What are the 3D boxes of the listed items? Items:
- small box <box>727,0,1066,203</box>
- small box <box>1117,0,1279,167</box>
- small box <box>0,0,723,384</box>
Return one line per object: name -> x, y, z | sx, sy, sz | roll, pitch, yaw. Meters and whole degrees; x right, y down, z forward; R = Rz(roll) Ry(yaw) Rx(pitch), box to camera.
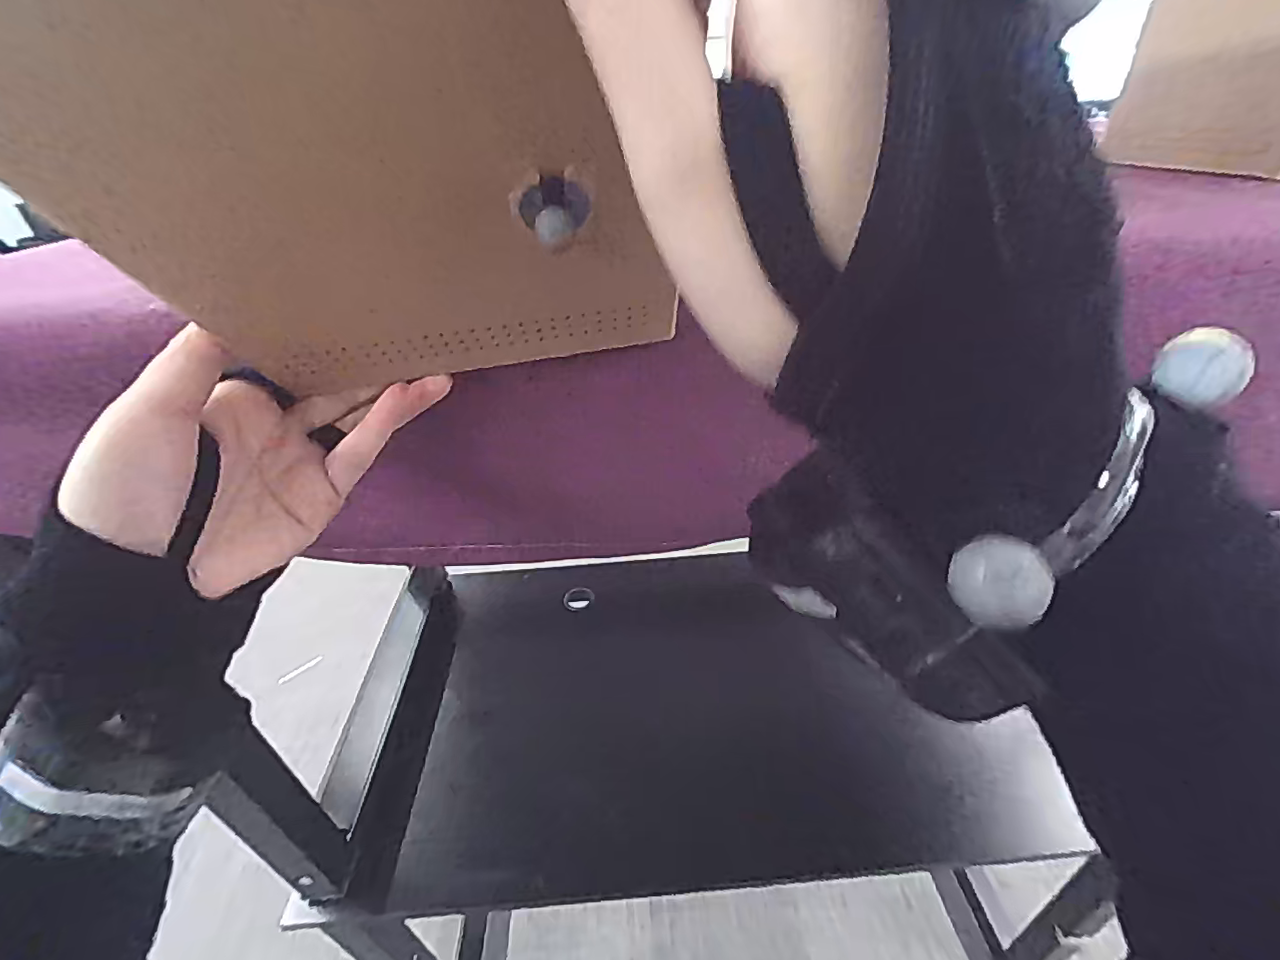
small box -> 0.163, -0.298, 0.381 | 0.168, 0.176, 0.179 | -7, 33, -5
small box -> 0.495, -0.318, 0.371 | 0.168, 0.176, 0.179 | -3, 34, 3
small box -> -0.081, -0.149, 0.178 | 0.179, 0.176, 0.168 | -9, 74, -3
